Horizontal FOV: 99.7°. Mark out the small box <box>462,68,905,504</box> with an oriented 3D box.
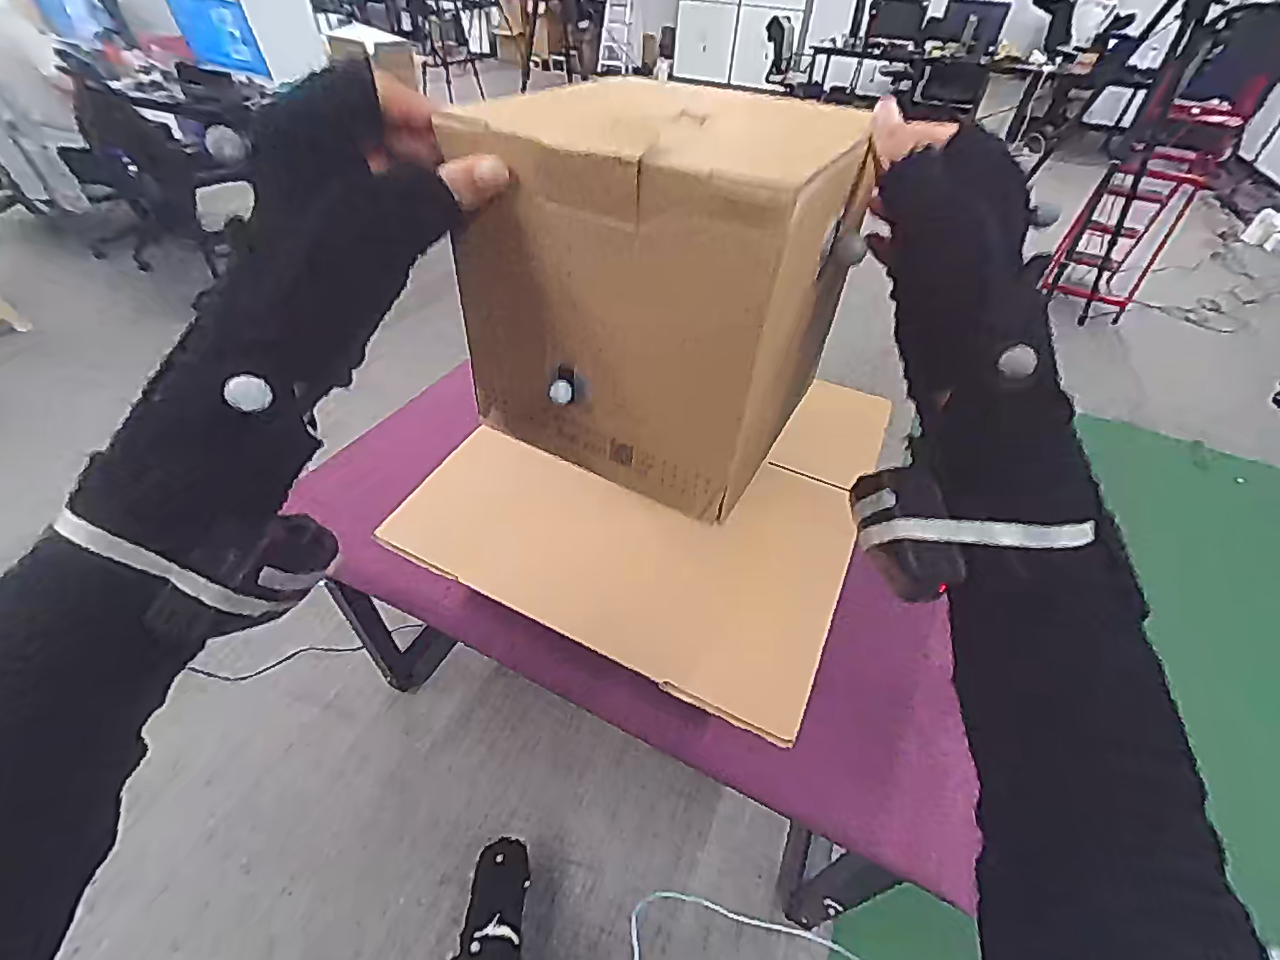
[{"bbox_3d":[0.027,-0.119,0.315,0.168,0.176,0.179,23,46,19],"label":"small box"}]
